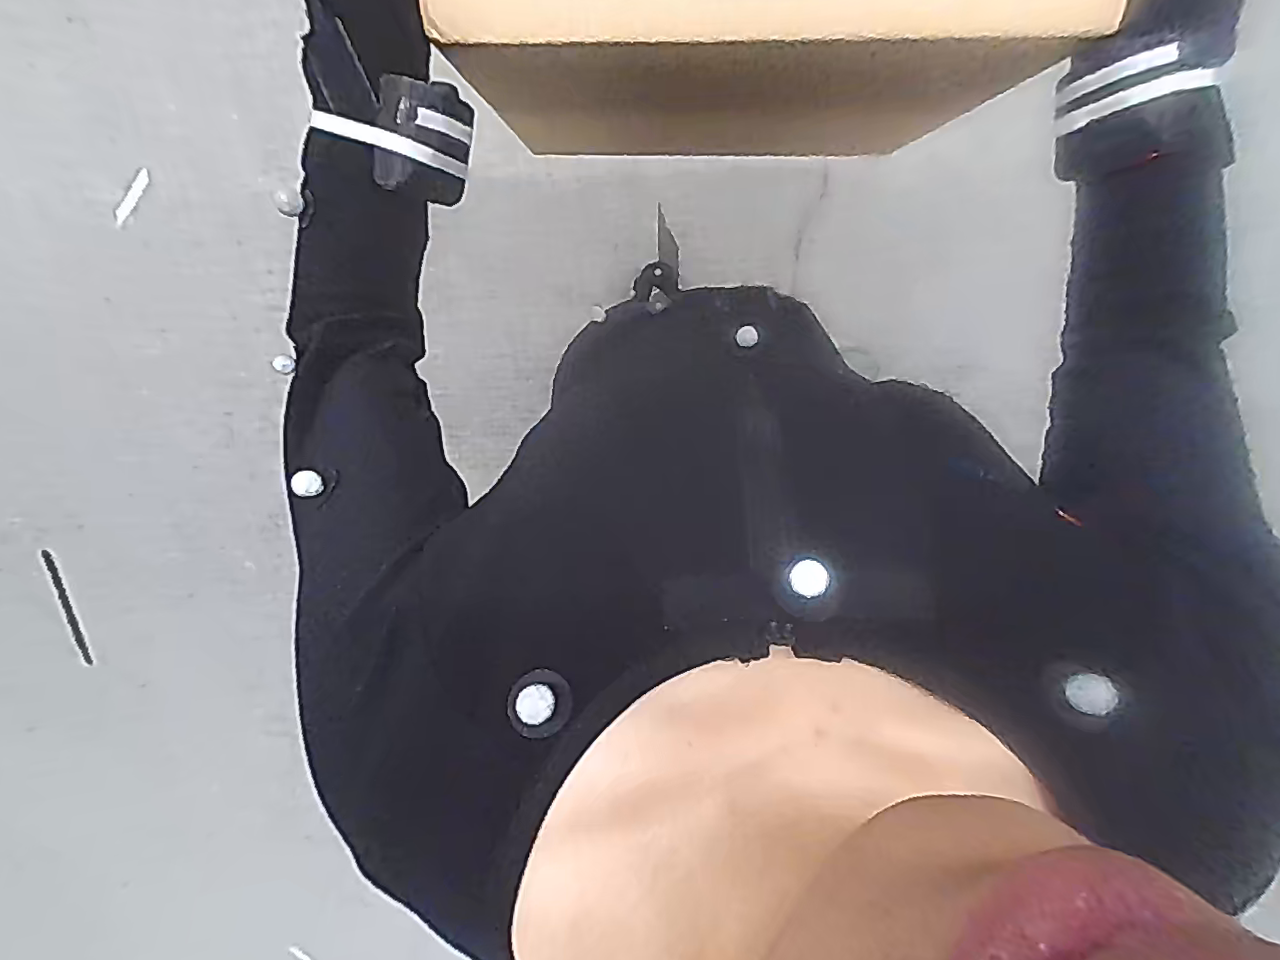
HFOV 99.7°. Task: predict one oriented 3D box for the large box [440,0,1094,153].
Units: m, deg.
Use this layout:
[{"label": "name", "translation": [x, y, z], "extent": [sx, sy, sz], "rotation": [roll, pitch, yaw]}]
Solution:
[{"label": "large box", "translation": [0.073, -0.469, 0.419], "extent": [0.408, 0.320, 0.320], "rotation": [0, 110, 1]}]
